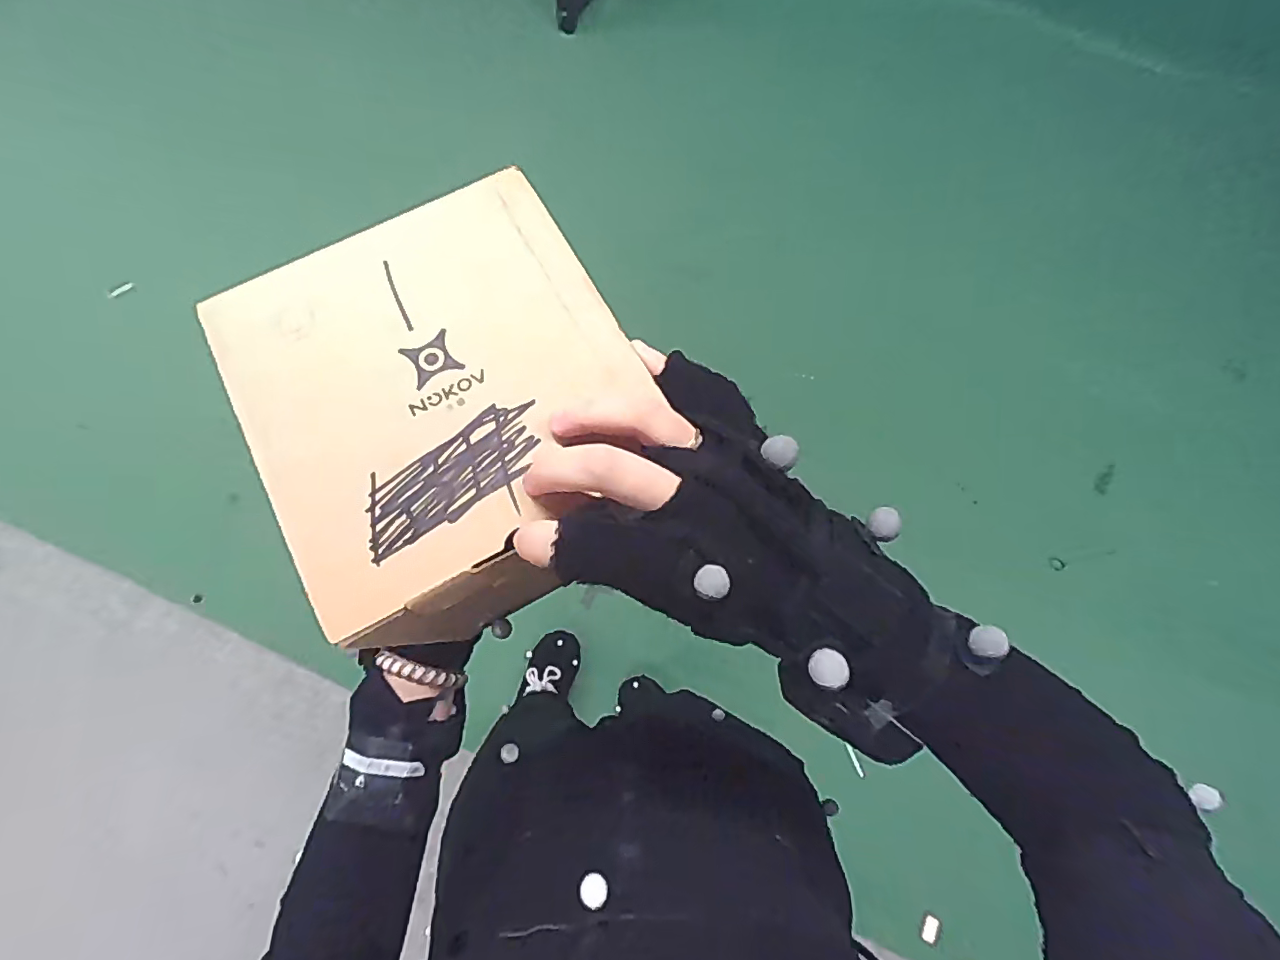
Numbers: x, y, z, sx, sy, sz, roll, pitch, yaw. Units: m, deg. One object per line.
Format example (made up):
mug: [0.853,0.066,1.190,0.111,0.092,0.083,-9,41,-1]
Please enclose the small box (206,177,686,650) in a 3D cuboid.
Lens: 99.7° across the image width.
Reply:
small box: [-0.089,-0.022,0.319,0.168,0.176,0.179,-29,76,-8]
